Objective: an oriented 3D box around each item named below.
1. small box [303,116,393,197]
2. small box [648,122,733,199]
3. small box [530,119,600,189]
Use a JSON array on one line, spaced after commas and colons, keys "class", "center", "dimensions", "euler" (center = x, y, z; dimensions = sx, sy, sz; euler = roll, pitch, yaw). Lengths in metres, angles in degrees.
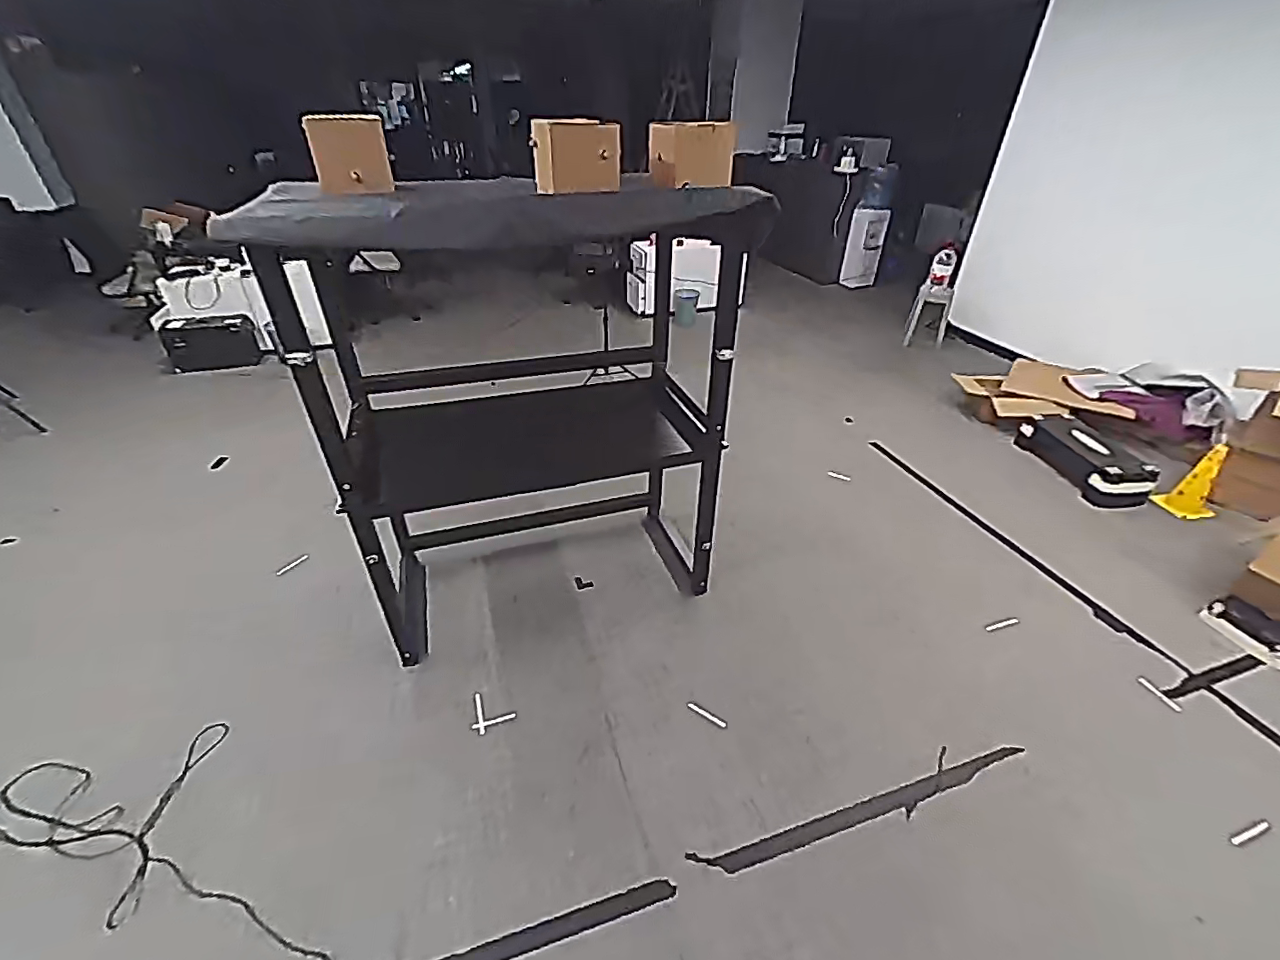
[{"class": "small box", "center": [-0.762, -0.855, 1.430], "dimensions": [0.179, 0.176, 0.168], "euler": [-11, 37, -18]}, {"class": "small box", "center": [0.130, -0.849, 1.438], "dimensions": [0.168, 0.176, 0.179], "euler": [-13, 36, -18]}, {"class": "small box", "center": [-0.220, -0.963, 1.599], "dimensions": [0.168, 0.176, 0.179], "euler": [-11, 37, -16]}]
